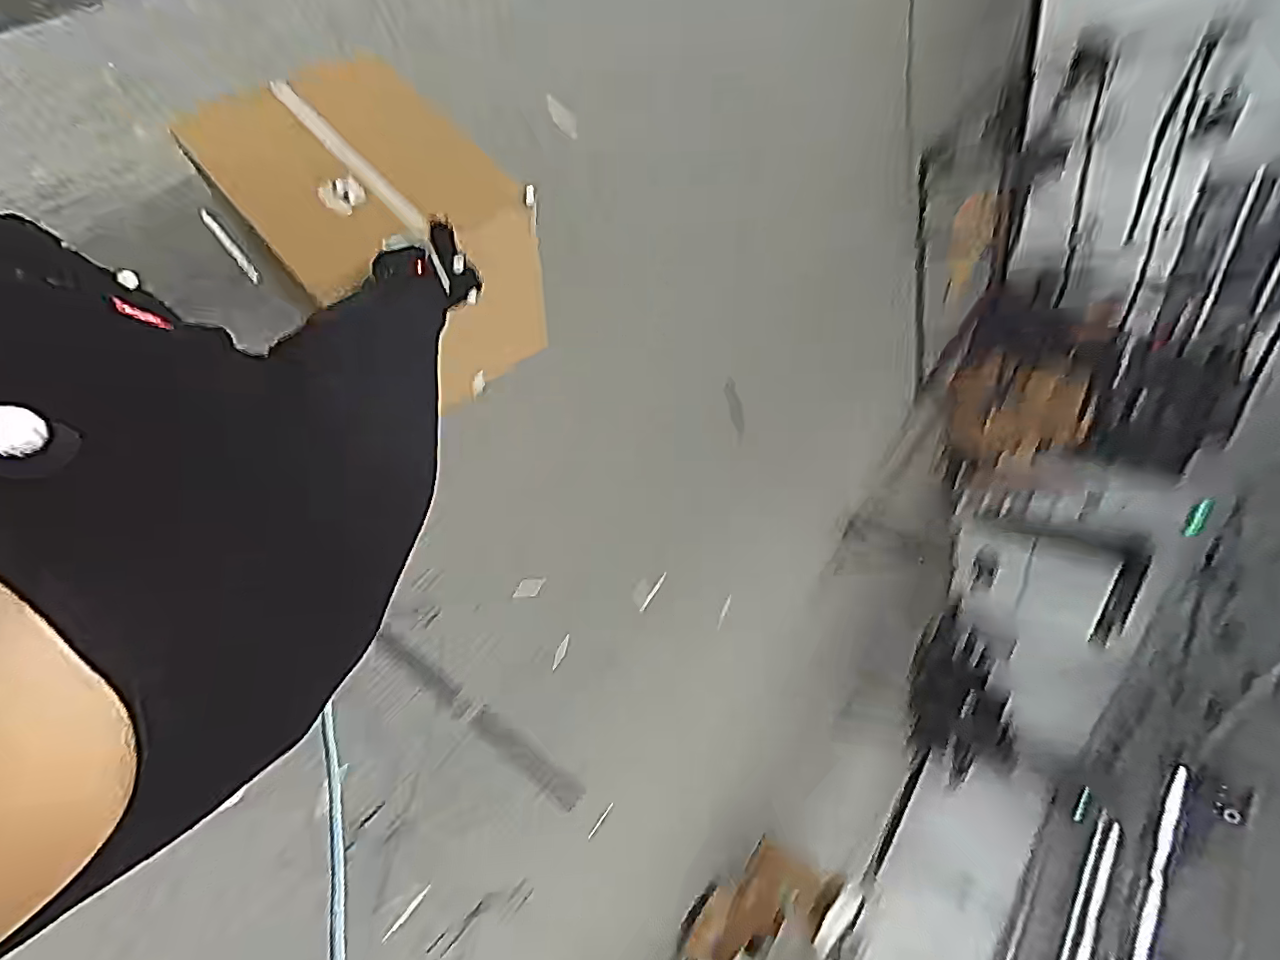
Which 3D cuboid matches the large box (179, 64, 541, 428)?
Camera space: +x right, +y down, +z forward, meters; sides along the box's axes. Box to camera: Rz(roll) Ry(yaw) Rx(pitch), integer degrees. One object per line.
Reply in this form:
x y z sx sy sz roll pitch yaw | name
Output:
-0.409 -0.368 0.883 0.320 0.408 0.320 -38 166 -20 | large box
